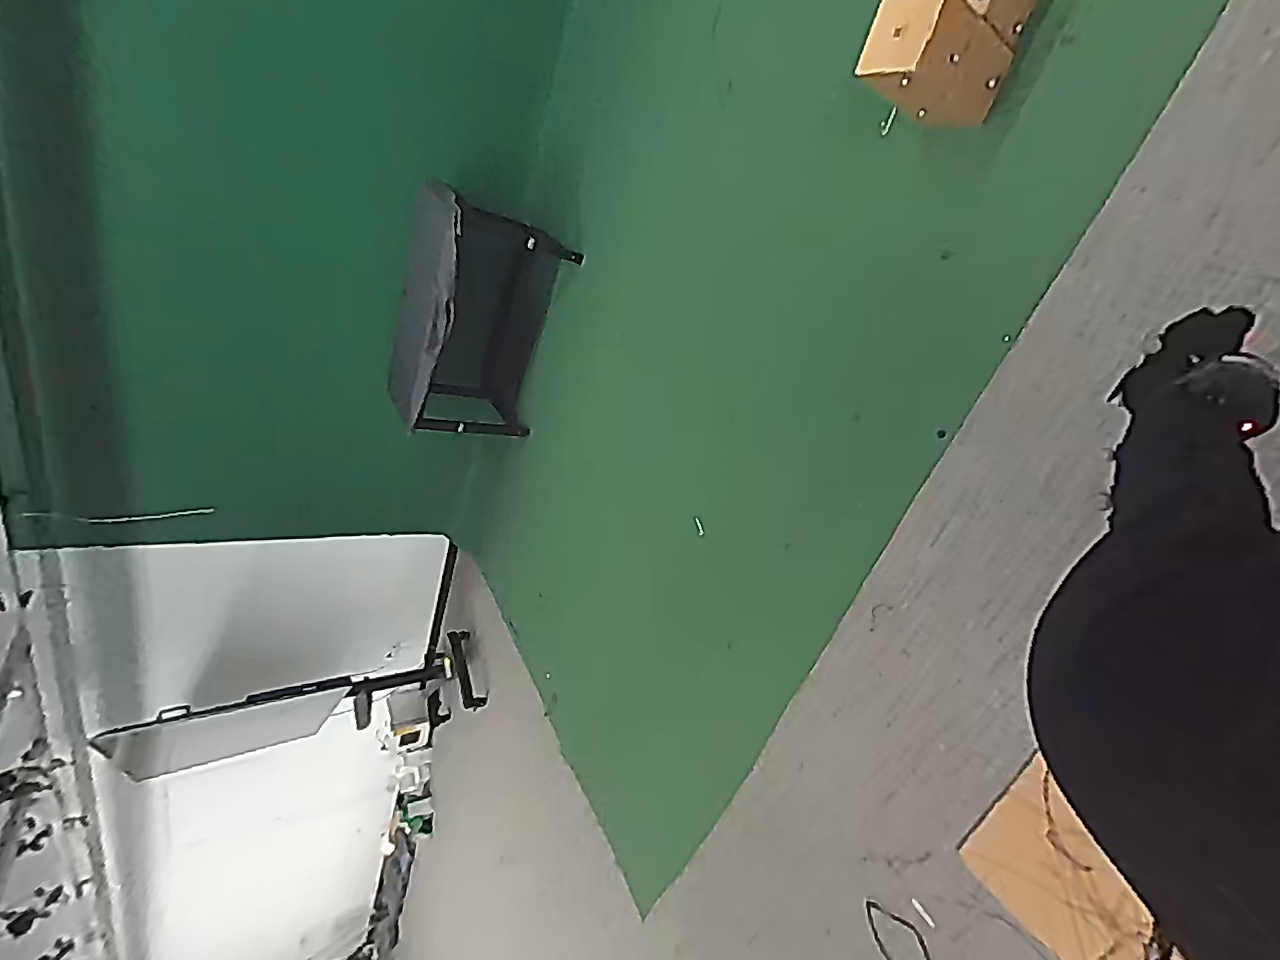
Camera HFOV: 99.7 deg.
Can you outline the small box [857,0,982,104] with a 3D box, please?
[{"bbox_3d":[0.671,-1.031,1.299,0.179,0.176,0.168,41,121,45],"label":"small box"}]
